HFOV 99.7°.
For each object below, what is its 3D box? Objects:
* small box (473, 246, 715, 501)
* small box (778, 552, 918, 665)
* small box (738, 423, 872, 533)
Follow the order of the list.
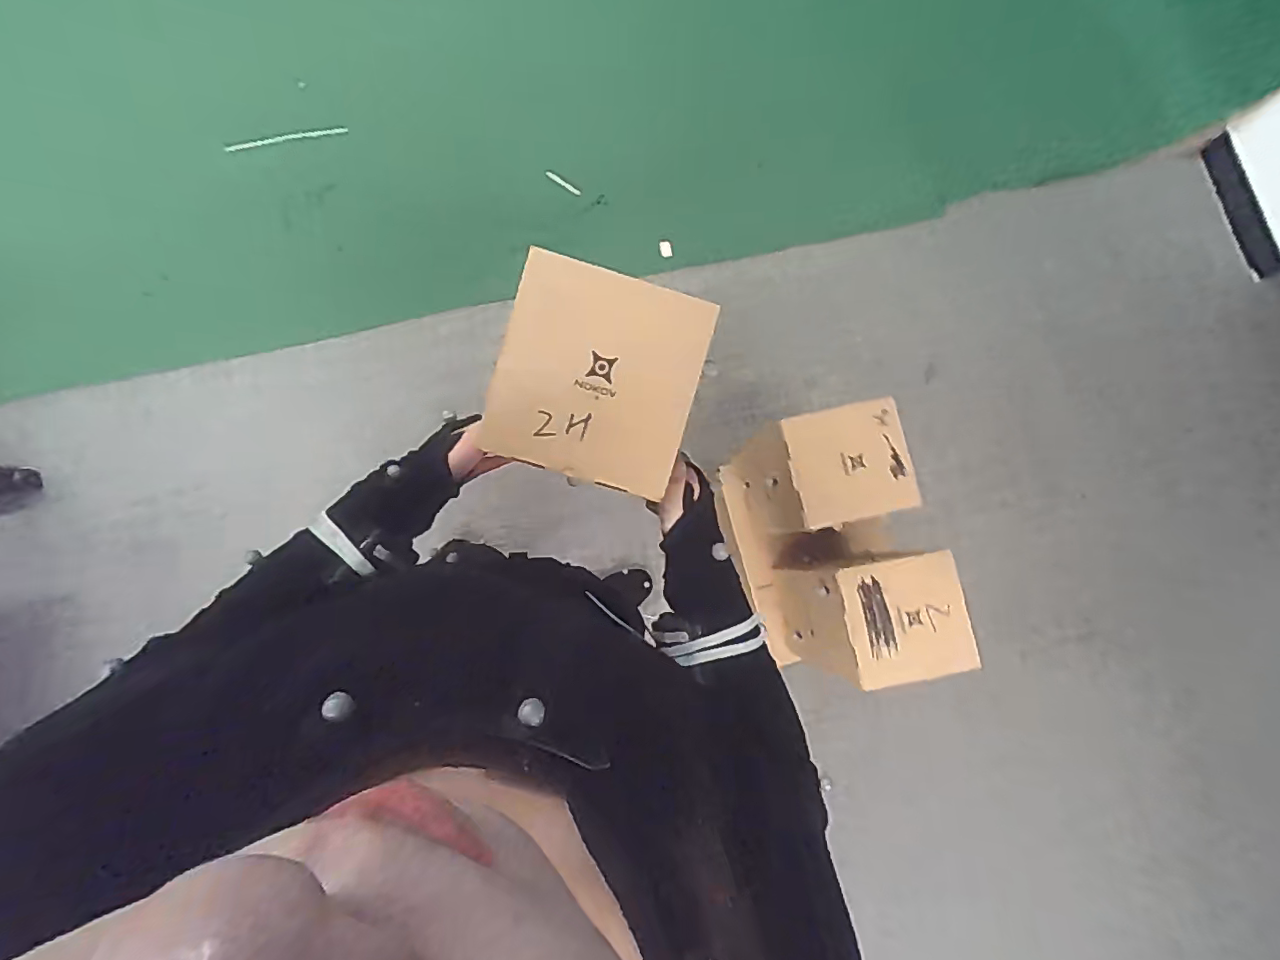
[{"bbox_3d":[-0.042,-0.092,0.530,0.168,0.176,0.179,17,93,-3],"label":"small box"},{"bbox_3d":[0.365,0.228,0.989,0.179,0.176,0.168,-9,82,-4],"label":"small box"},{"bbox_3d":[0.300,0.001,1.017,0.179,0.176,0.168,-12,84,-3],"label":"small box"}]
